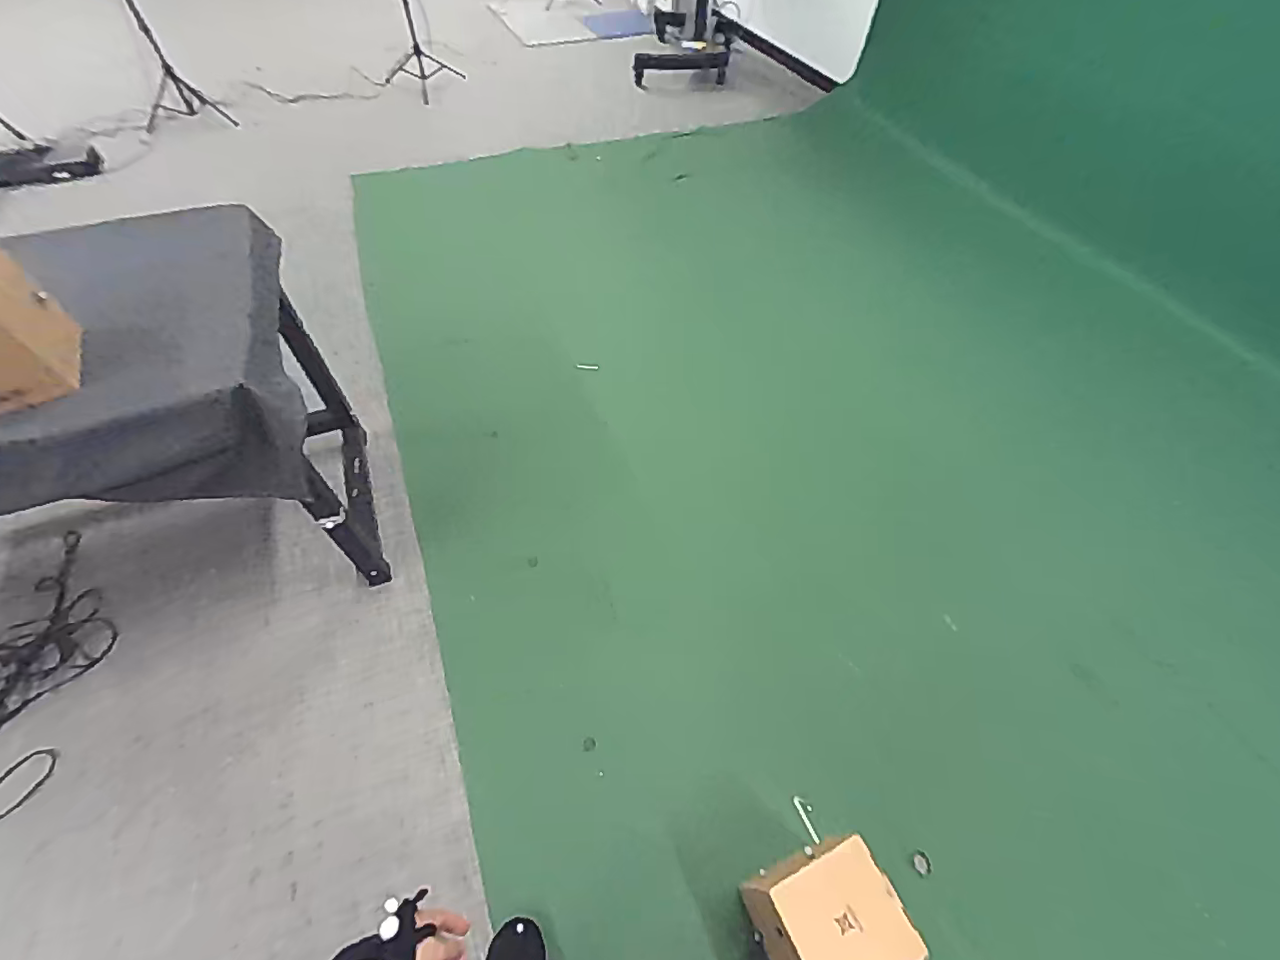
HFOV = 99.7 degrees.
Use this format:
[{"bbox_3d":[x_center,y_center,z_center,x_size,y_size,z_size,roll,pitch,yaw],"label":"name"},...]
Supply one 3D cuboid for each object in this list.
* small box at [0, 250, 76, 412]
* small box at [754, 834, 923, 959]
[{"bbox_3d":[-0.980,-0.214,0.784,0.168,0.176,0.179,-25,59,-18],"label":"small box"},{"bbox_3d":[0.298,0.701,0.862,0.179,0.176,0.168,-20,57,-16],"label":"small box"}]
